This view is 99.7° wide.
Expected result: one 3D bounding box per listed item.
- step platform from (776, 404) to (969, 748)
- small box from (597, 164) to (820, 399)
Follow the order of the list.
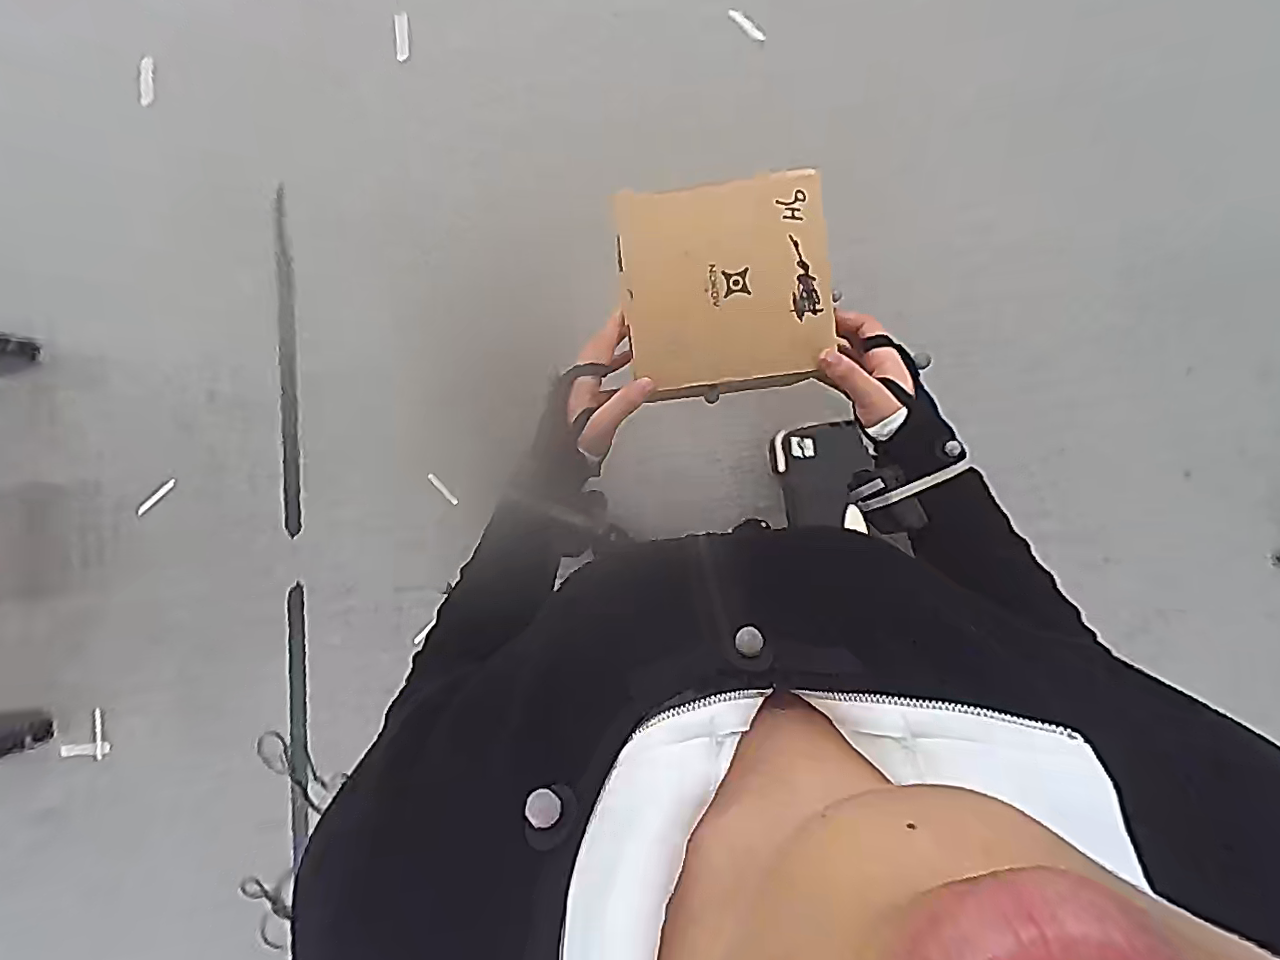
[{"bbox_3d":[0.481,0.190,1.173,0.286,0.204,0.684,-6,88,2],"label":"step platform"},{"bbox_3d":[0.064,-0.178,0.541,0.179,0.176,0.168,-8,94,4],"label":"small box"}]
